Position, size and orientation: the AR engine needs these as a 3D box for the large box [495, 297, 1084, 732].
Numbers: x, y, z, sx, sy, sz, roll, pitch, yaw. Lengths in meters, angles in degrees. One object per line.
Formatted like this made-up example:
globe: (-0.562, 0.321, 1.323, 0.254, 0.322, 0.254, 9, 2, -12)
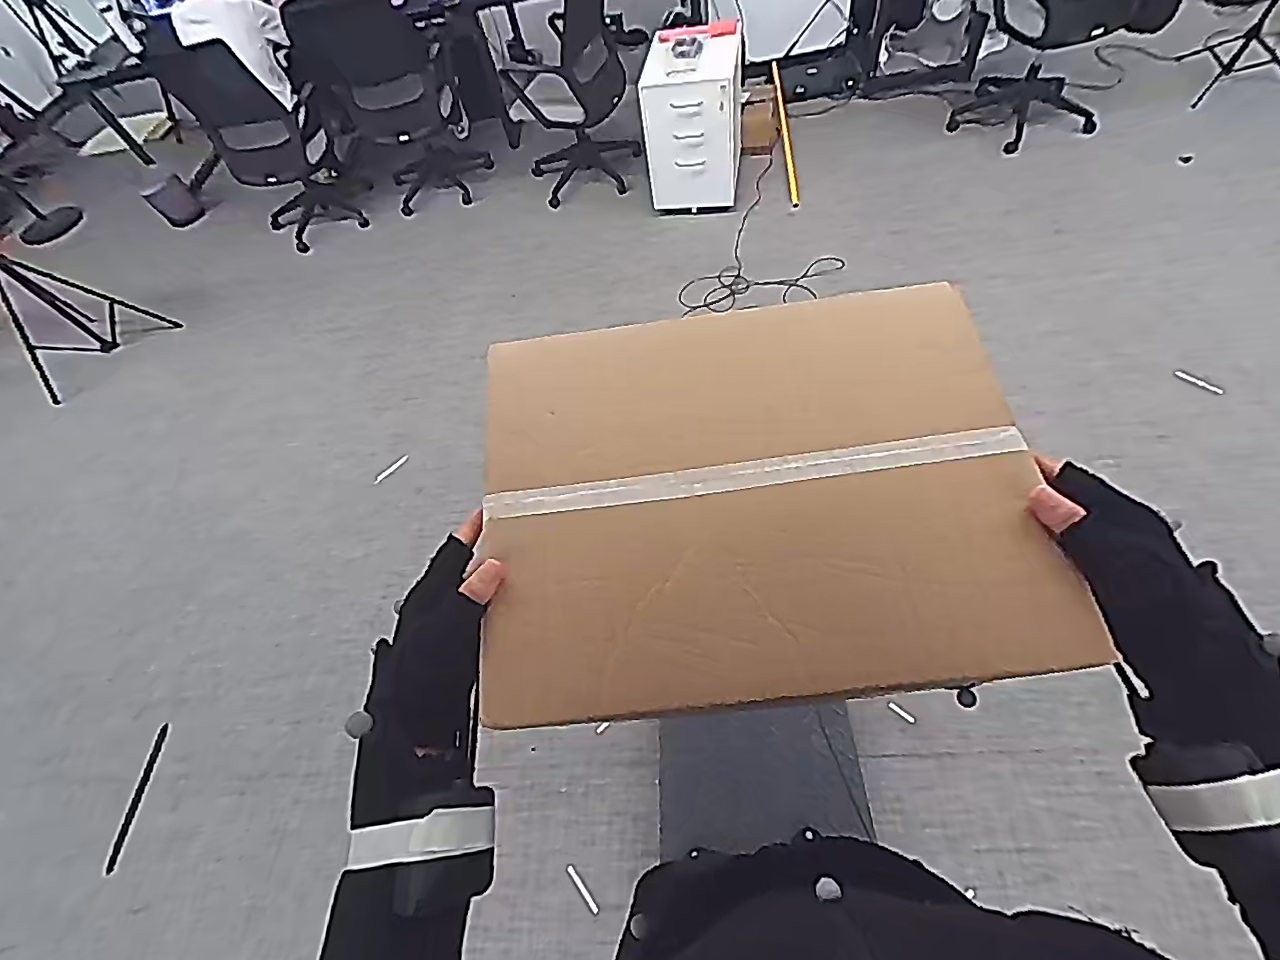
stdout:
large box: (0.098, 0.063, 0.557, 0.408, 0.320, 0.320, -8, 65, 3)
